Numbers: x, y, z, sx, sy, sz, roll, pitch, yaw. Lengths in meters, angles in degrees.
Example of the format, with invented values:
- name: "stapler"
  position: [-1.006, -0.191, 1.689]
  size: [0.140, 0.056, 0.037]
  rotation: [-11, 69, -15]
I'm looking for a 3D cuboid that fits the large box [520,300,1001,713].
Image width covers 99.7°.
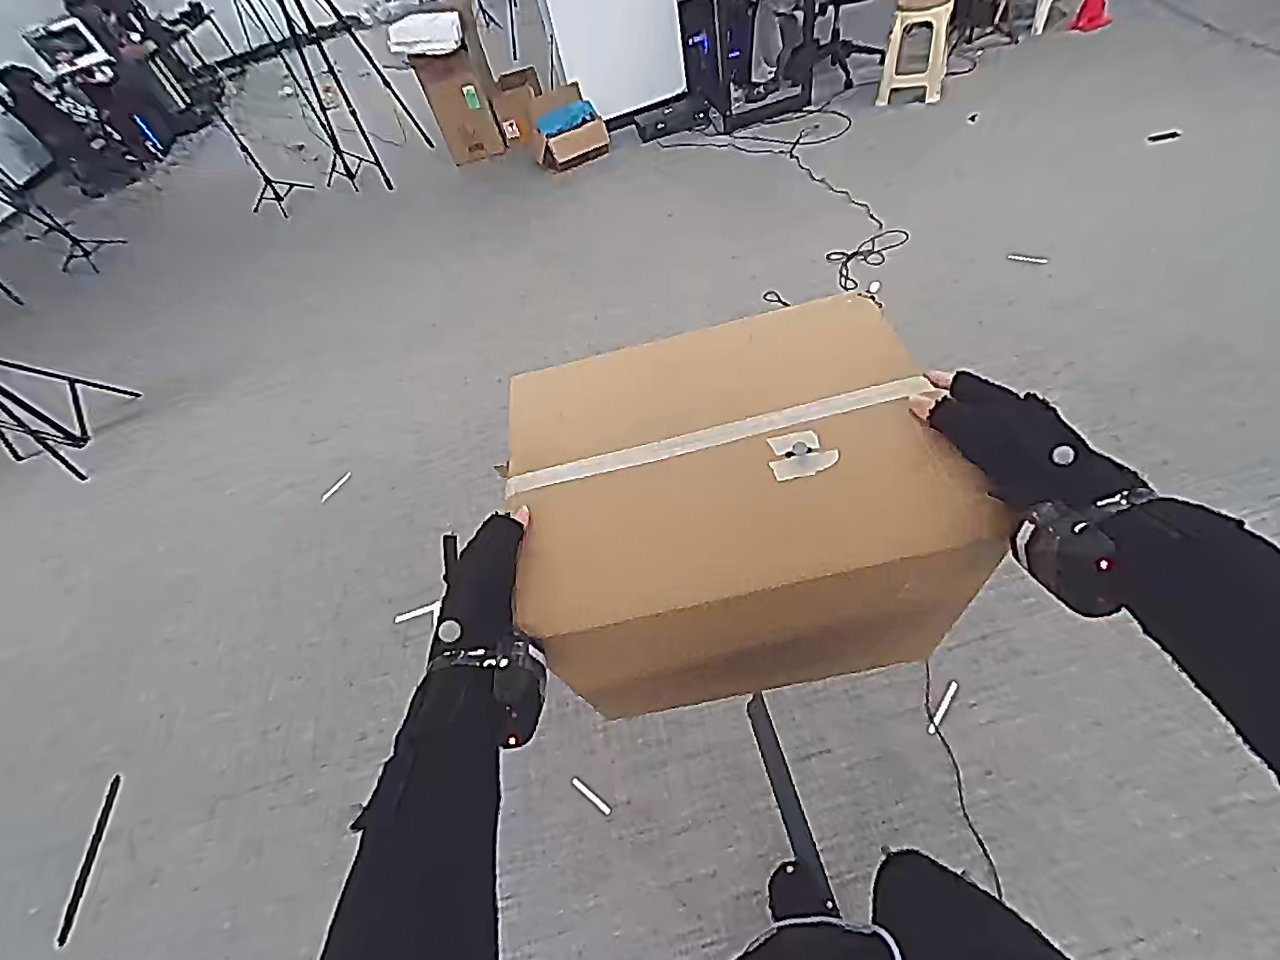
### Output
- name: "large box"
  position: [0.101, 0.047, 0.647]
  size: [0.408, 0.320, 0.320]
  rotation: [-13, 54, 3]
